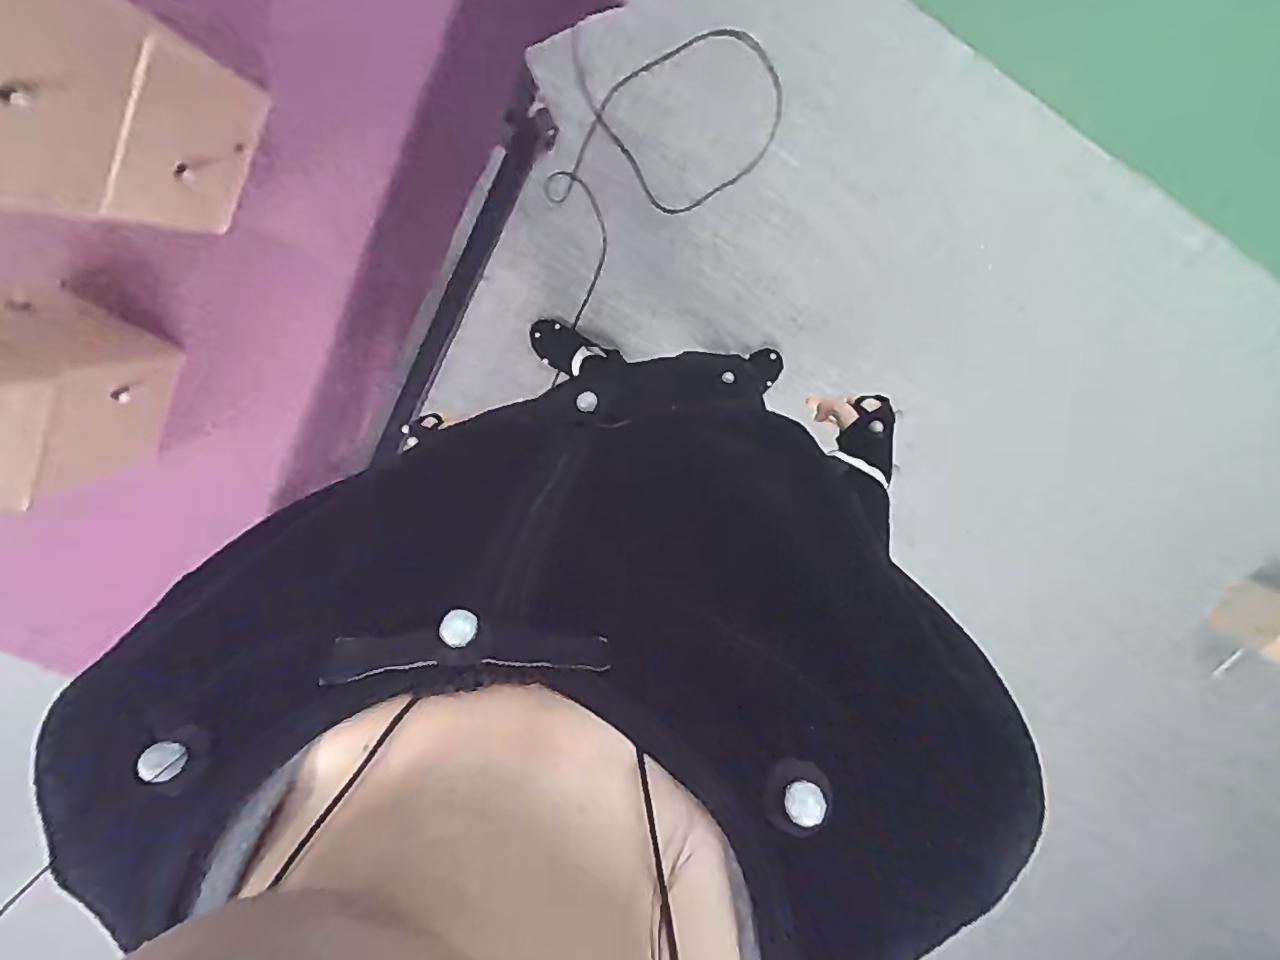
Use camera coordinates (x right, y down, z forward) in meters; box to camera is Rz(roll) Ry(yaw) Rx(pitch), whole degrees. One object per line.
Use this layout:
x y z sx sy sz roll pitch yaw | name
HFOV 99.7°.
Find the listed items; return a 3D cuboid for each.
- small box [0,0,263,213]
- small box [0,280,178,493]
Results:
-0.529 -0.391 0.540 0.179 0.176 0.168 30 107 -10 | small box
-0.701 -0.119 0.634 0.168 0.176 0.179 29 107 -9 | small box
